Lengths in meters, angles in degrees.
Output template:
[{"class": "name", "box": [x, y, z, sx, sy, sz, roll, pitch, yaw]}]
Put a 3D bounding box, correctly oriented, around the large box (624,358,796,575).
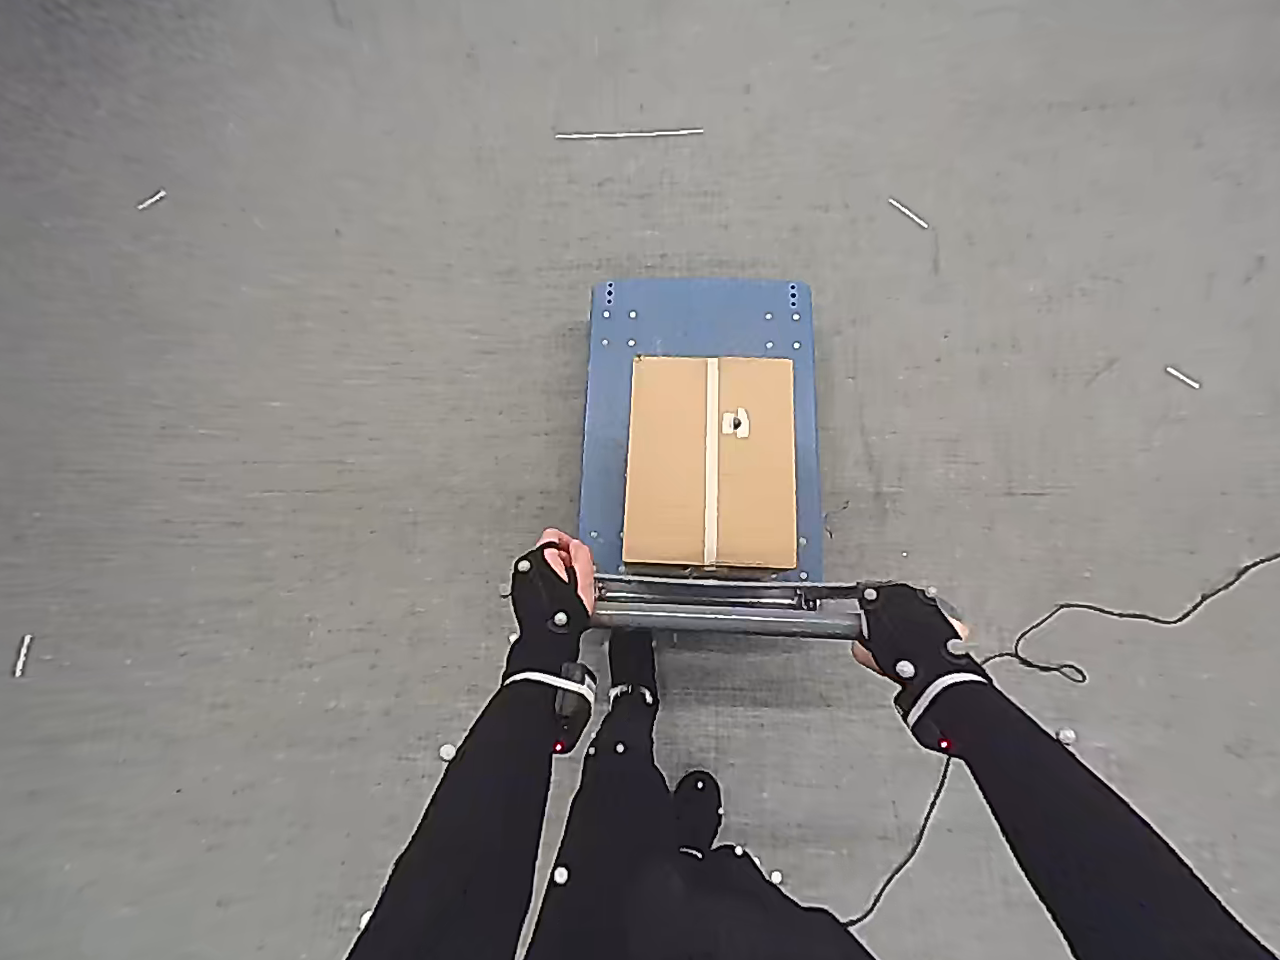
[{"class": "large box", "box": [0.137, -0.008, 1.158, 0.320, 0.320, 0.408, 1, 76, 2]}]
